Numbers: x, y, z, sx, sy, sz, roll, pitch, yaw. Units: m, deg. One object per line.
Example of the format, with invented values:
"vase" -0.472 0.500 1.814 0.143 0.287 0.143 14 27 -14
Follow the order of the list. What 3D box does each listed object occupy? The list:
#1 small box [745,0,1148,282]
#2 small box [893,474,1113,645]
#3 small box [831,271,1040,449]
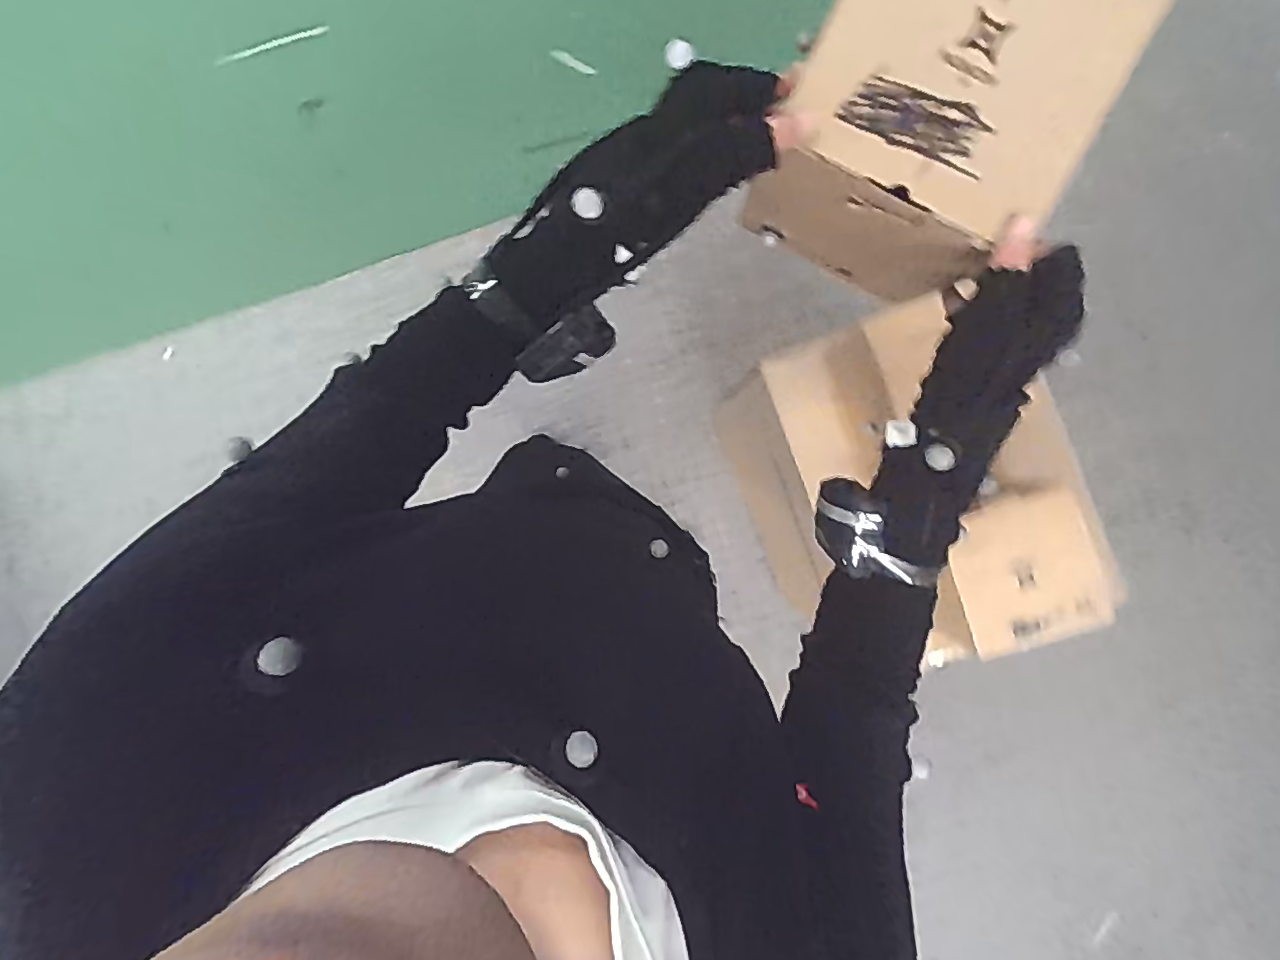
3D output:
"small box" 0.188 -0.266 0.386 0.168 0.176 0.179 25 98 -3
"small box" 0.476 0.098 0.739 0.168 0.176 0.179 -18 90 5
"small box" 0.387 -0.148 0.741 0.168 0.176 0.179 -21 89 3
